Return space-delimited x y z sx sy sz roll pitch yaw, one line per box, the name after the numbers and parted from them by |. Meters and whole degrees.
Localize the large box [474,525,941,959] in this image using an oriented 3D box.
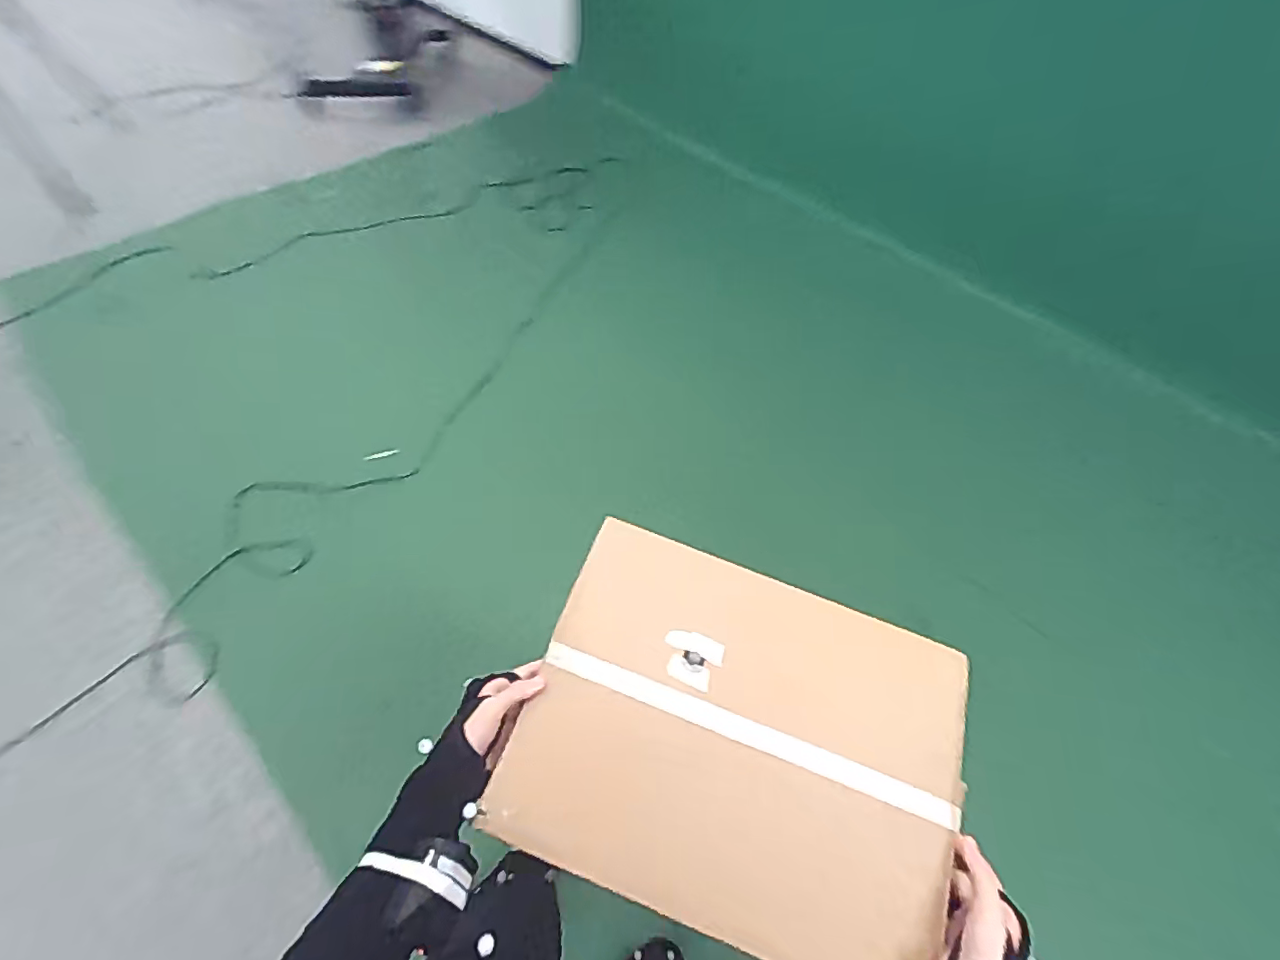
0.079 0.302 0.665 0.408 0.320 0.320 20 64 6 | large box
